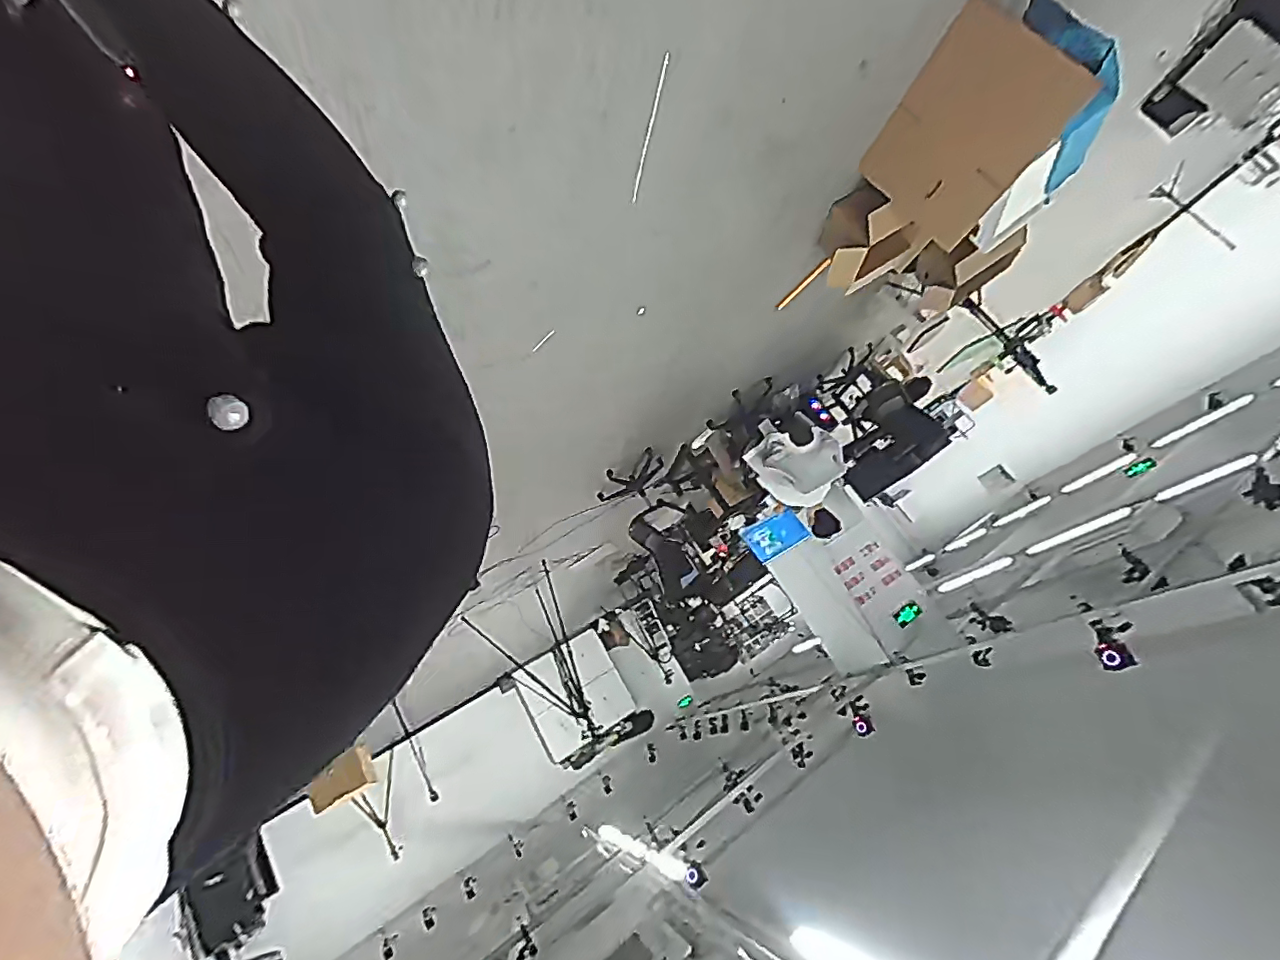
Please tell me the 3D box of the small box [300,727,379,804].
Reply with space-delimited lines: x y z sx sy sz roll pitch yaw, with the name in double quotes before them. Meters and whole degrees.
"small box" -1.001 0.948 1.804 0.168 0.176 0.179 -25 161 -23
